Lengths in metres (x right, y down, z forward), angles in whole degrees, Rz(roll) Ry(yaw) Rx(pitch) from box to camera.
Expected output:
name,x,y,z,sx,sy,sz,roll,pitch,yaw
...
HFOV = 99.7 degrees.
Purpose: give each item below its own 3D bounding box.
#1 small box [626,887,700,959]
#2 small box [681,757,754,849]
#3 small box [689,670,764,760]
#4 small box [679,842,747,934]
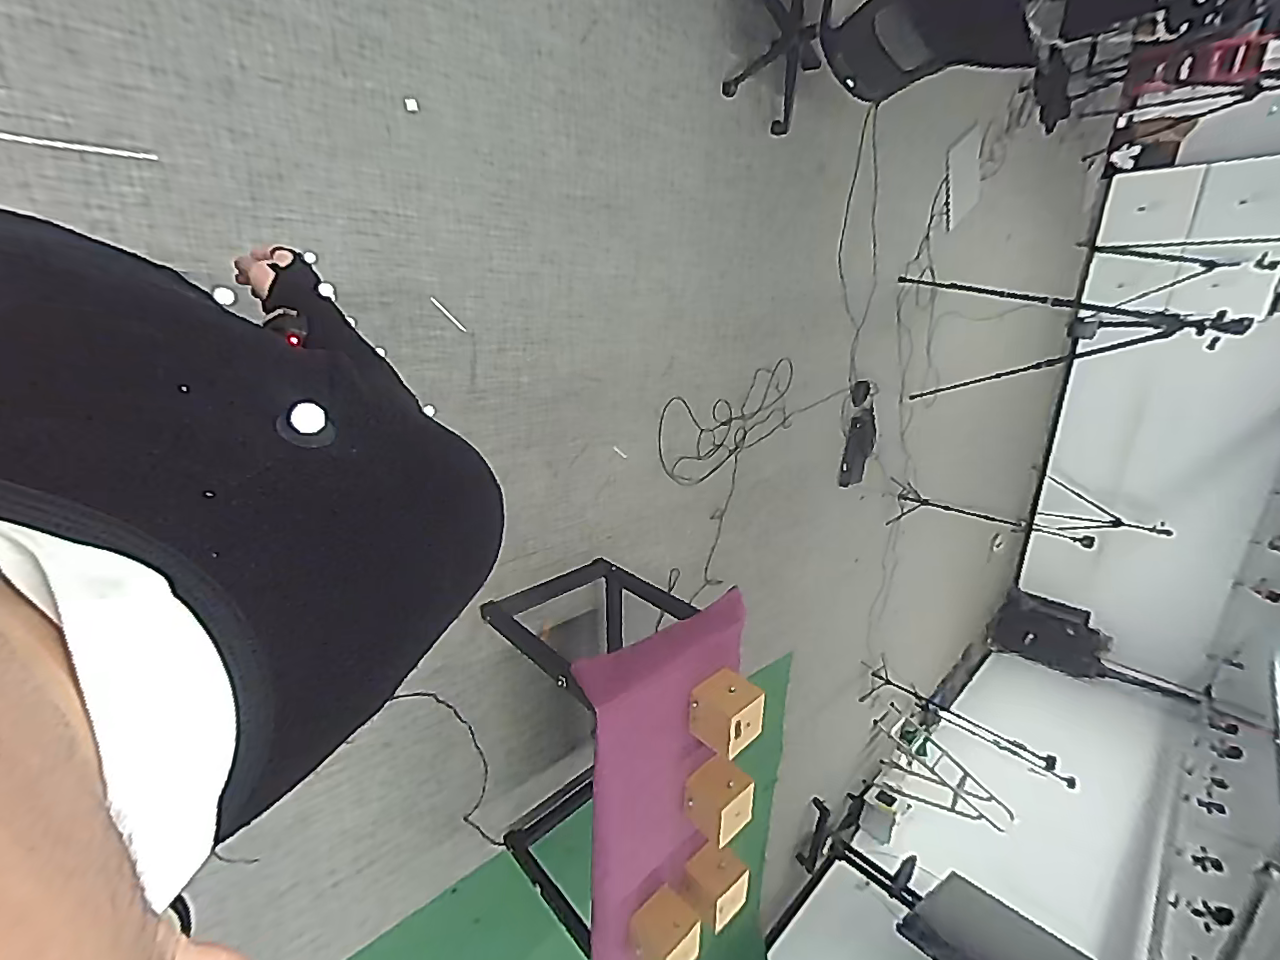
name,x,y,z,sx,sy,sz,roll,pitch,yaw
small box,0.076,1.517,1.794,0.179,0.176,0.168,-13,111,-43
small box,0.262,1.089,1.843,0.179,0.176,0.168,-13,112,-41
small box,0.273,0.747,1.738,0.179,0.176,0.168,-16,114,-41
small box,0.266,1.472,1.969,0.179,0.176,0.168,-15,112,-41
